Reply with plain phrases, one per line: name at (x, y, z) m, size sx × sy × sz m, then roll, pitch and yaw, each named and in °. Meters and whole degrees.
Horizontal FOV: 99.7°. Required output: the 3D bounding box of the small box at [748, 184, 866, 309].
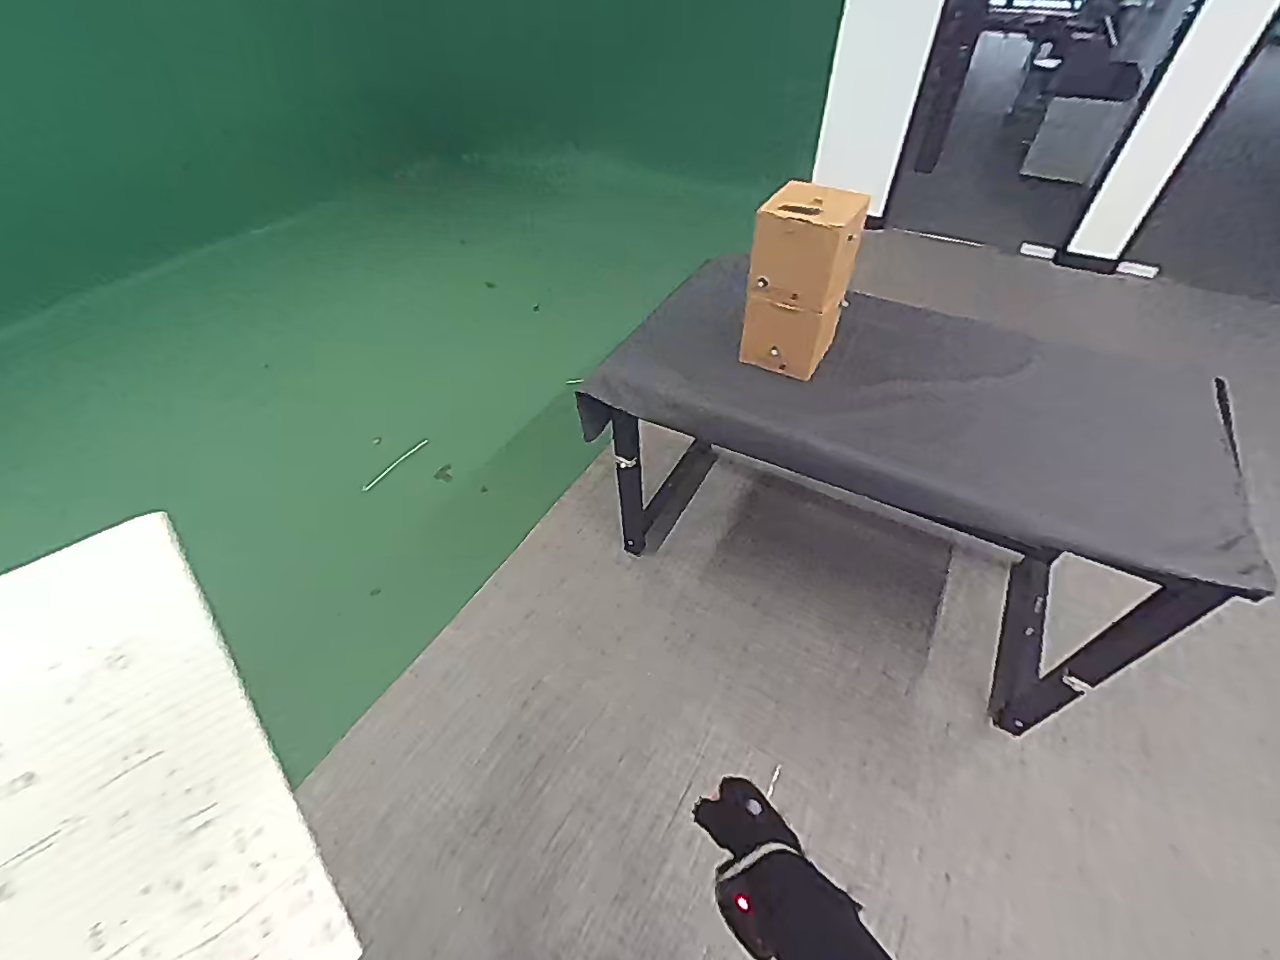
small box at (0.329, -0.468, 1.088) m, size 0.168 × 0.176 × 0.179 m, roll 24°, pitch 52°, yaw 22°

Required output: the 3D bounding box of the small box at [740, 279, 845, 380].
small box at (0.334, -0.354, 1.207) m, size 0.168 × 0.176 × 0.179 m, roll 22°, pitch 52°, yaw 21°
